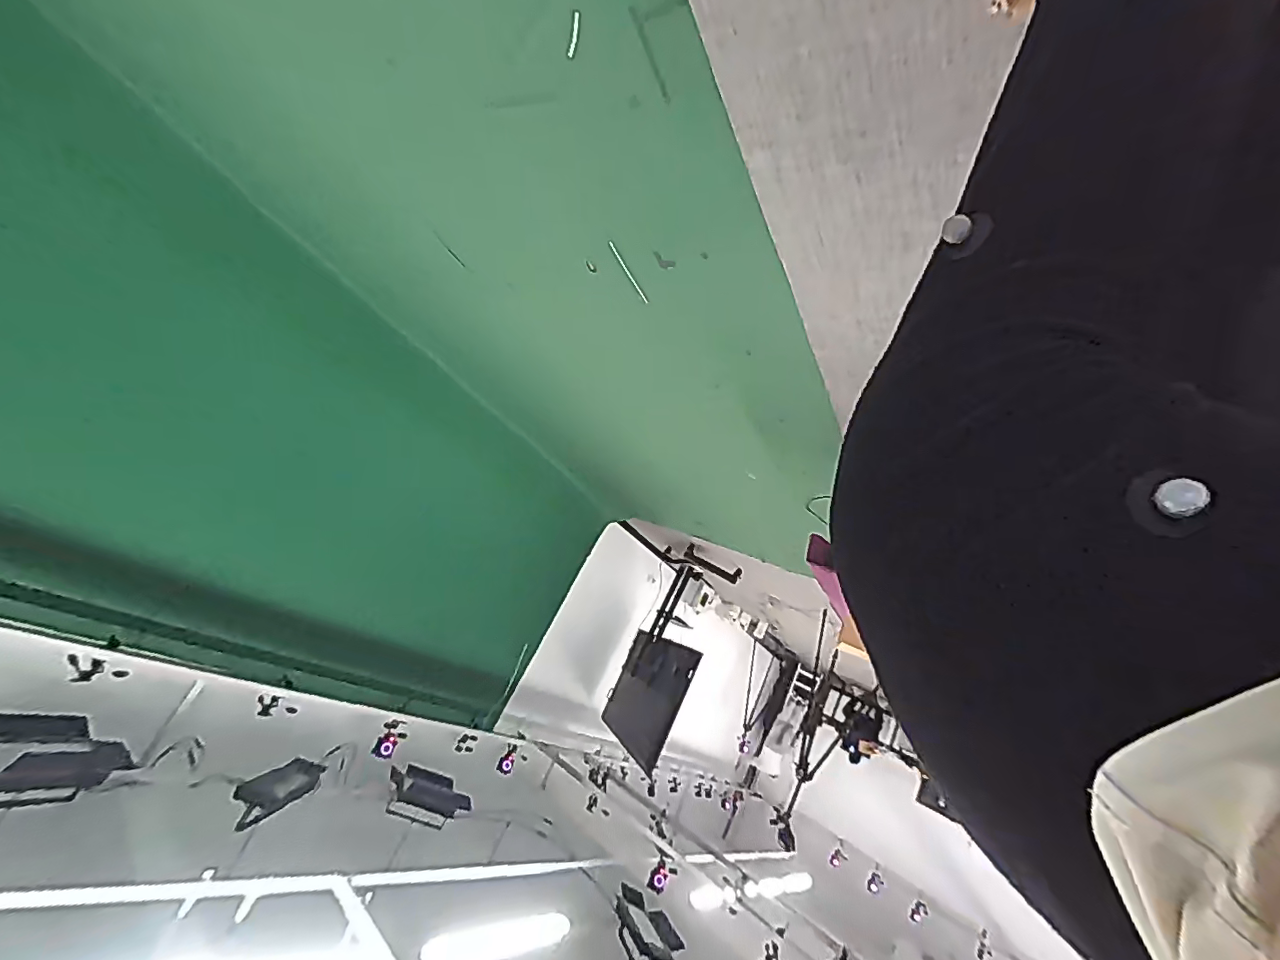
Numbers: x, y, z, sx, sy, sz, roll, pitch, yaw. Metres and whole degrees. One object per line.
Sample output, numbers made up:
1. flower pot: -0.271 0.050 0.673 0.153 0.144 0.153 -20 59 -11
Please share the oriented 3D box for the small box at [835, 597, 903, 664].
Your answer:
1. small box: 0.781 0.511 1.845 0.168 0.176 0.179 20 165 20
